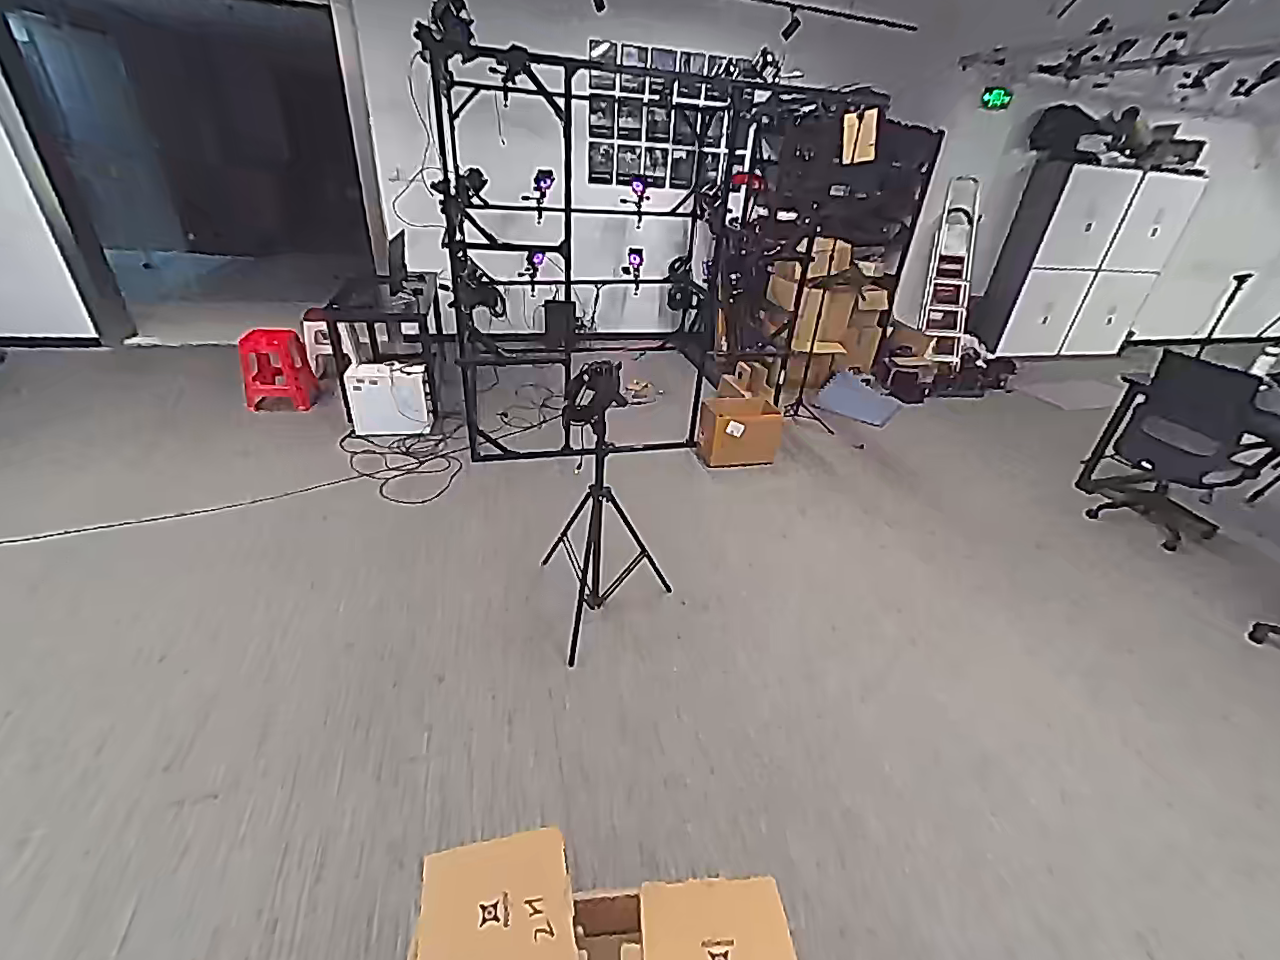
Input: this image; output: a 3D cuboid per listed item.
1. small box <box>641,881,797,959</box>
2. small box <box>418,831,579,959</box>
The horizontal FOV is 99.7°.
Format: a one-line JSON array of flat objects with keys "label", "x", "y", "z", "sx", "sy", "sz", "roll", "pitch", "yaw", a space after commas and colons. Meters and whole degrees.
[{"label": "small box", "x": 0.088, "y": 0.587, "z": 0.587, "sx": 0.168, "sy": 0.176, "sz": 0.179, "roll": -2, "pitch": 14, "yaw": -2}, {"label": "small box", "x": -0.170, "y": 0.581, "z": 0.670, "sx": 0.179, "sy": 0.176, "sz": 0.168, "roll": -4, "pitch": 31, "yaw": -14}]
